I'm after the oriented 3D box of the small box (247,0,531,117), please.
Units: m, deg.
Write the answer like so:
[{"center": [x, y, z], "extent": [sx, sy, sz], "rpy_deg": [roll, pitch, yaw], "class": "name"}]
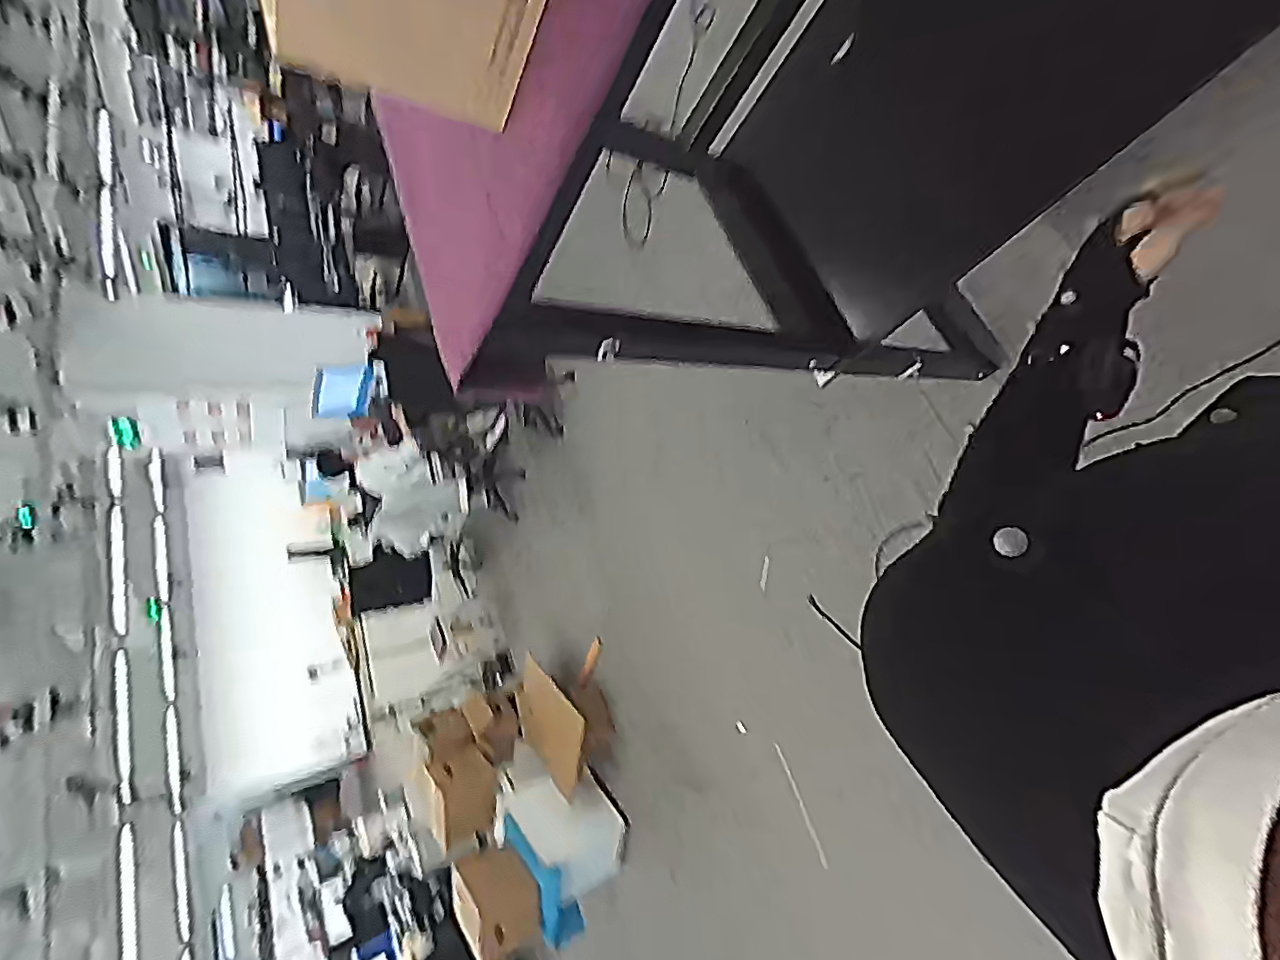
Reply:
[{"center": [-0.181, -0.408, 0.390], "extent": [0.168, 0.176, 0.179], "rpy_deg": [-45, 59, 46], "class": "small box"}]
